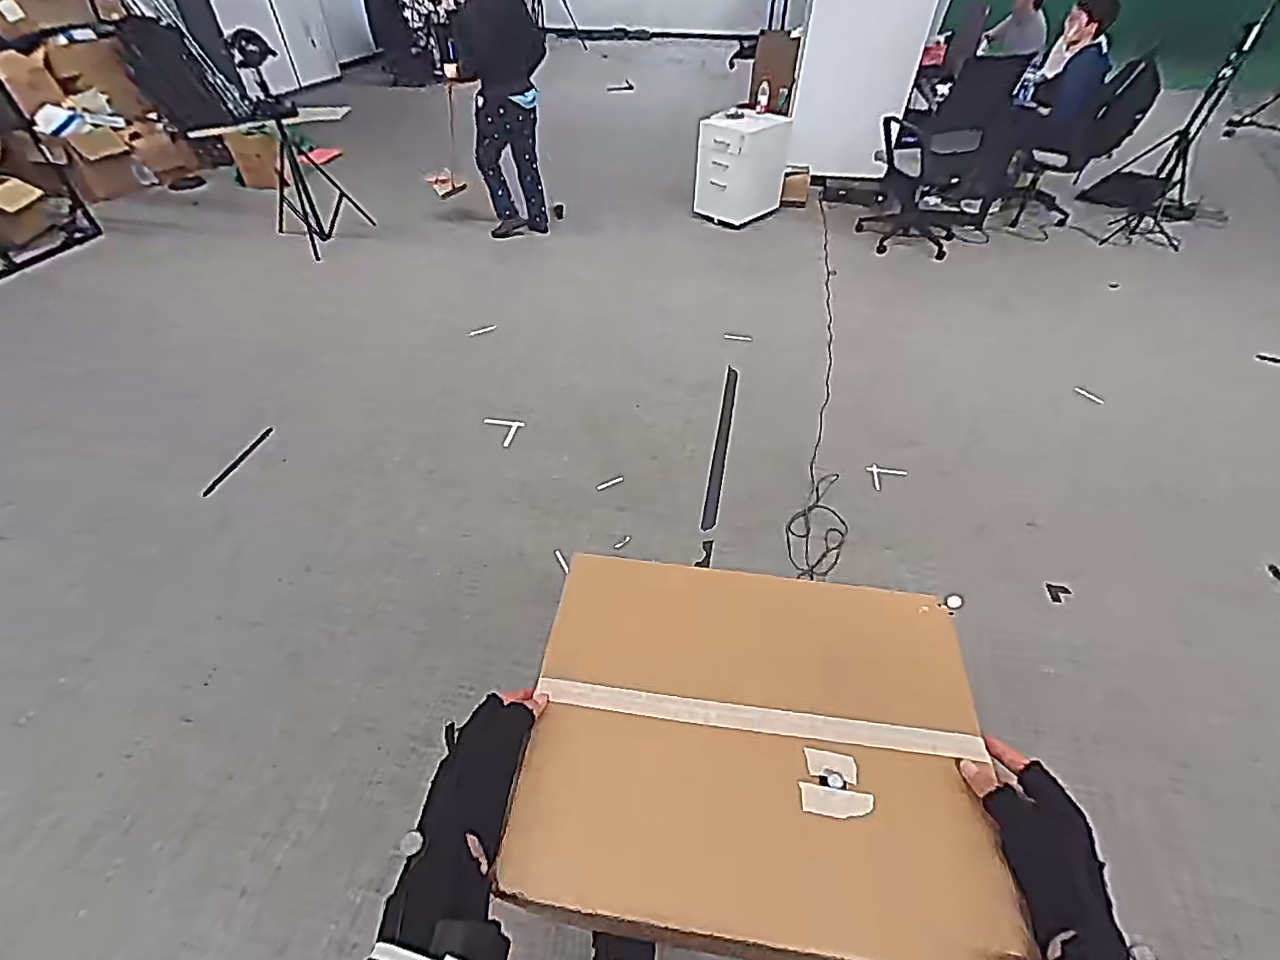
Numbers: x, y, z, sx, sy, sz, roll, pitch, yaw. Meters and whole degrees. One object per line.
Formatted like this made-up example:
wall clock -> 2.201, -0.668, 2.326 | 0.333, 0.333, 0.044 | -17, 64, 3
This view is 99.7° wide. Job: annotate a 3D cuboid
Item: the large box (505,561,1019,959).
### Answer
large box -> 0.104, 0.323, 0.623 | 0.408, 0.320, 0.320 | 6, 49, 6
